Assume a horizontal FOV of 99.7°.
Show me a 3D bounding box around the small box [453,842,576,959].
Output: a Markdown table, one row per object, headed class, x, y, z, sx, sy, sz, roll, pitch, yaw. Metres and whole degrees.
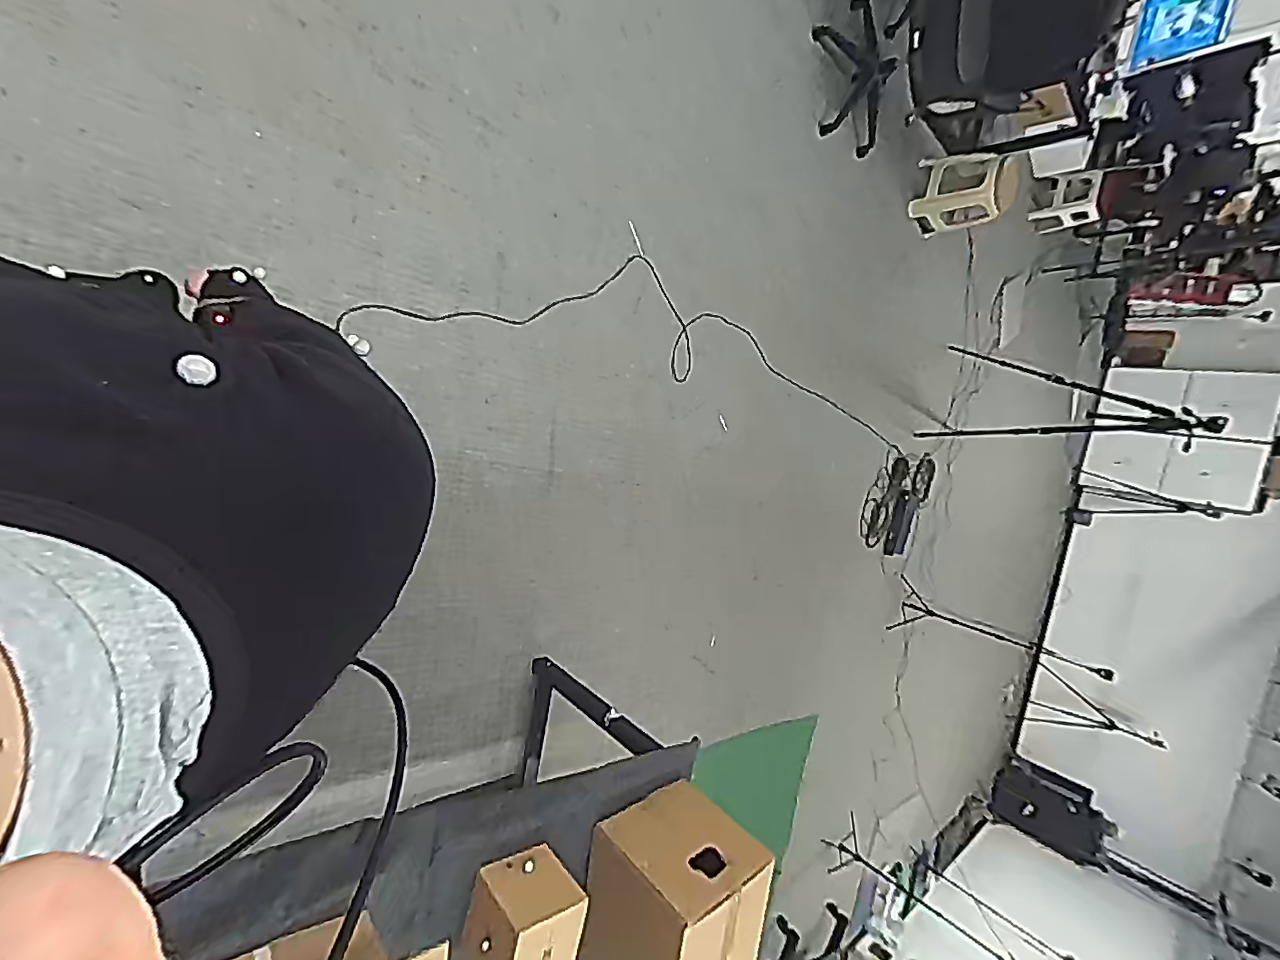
| class | x | y | z | sx | sy | sz | roll | pitch | yaw |
| --- | --- | --- | --- | --- | --- | --- | --- | --- | --- |
| small box | -0.261 | 0.897 | 1.105 | 0.168 | 0.176 | 0.179 | 11 | 93 | -45 |
